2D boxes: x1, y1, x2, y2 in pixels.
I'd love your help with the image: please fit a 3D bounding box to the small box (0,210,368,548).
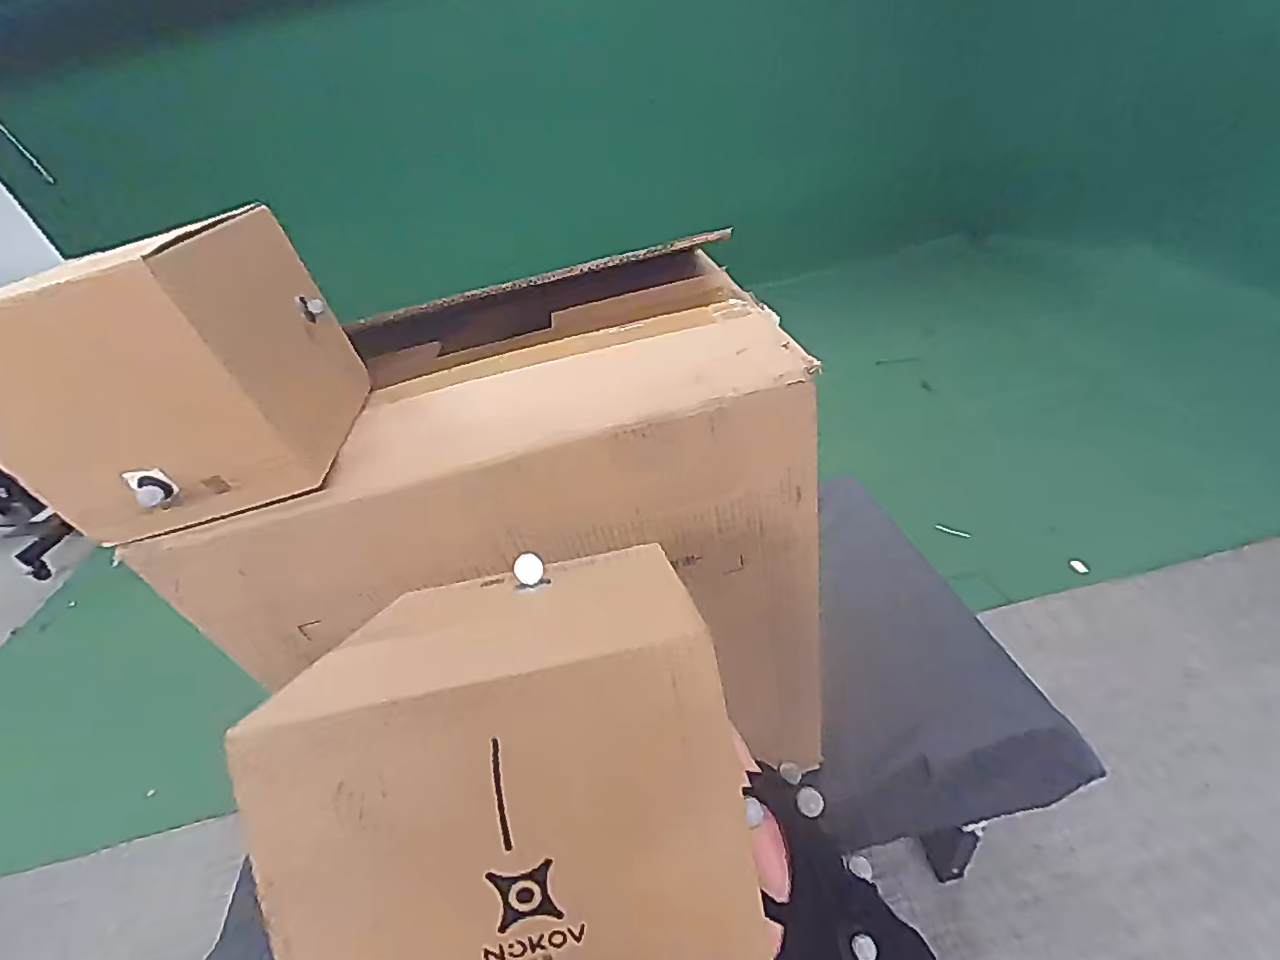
[{"bbox_3d":[-0.336,-0.080,0.409,0.168,0.176,0.179,-18,38,-1],"label":"small box"}]
